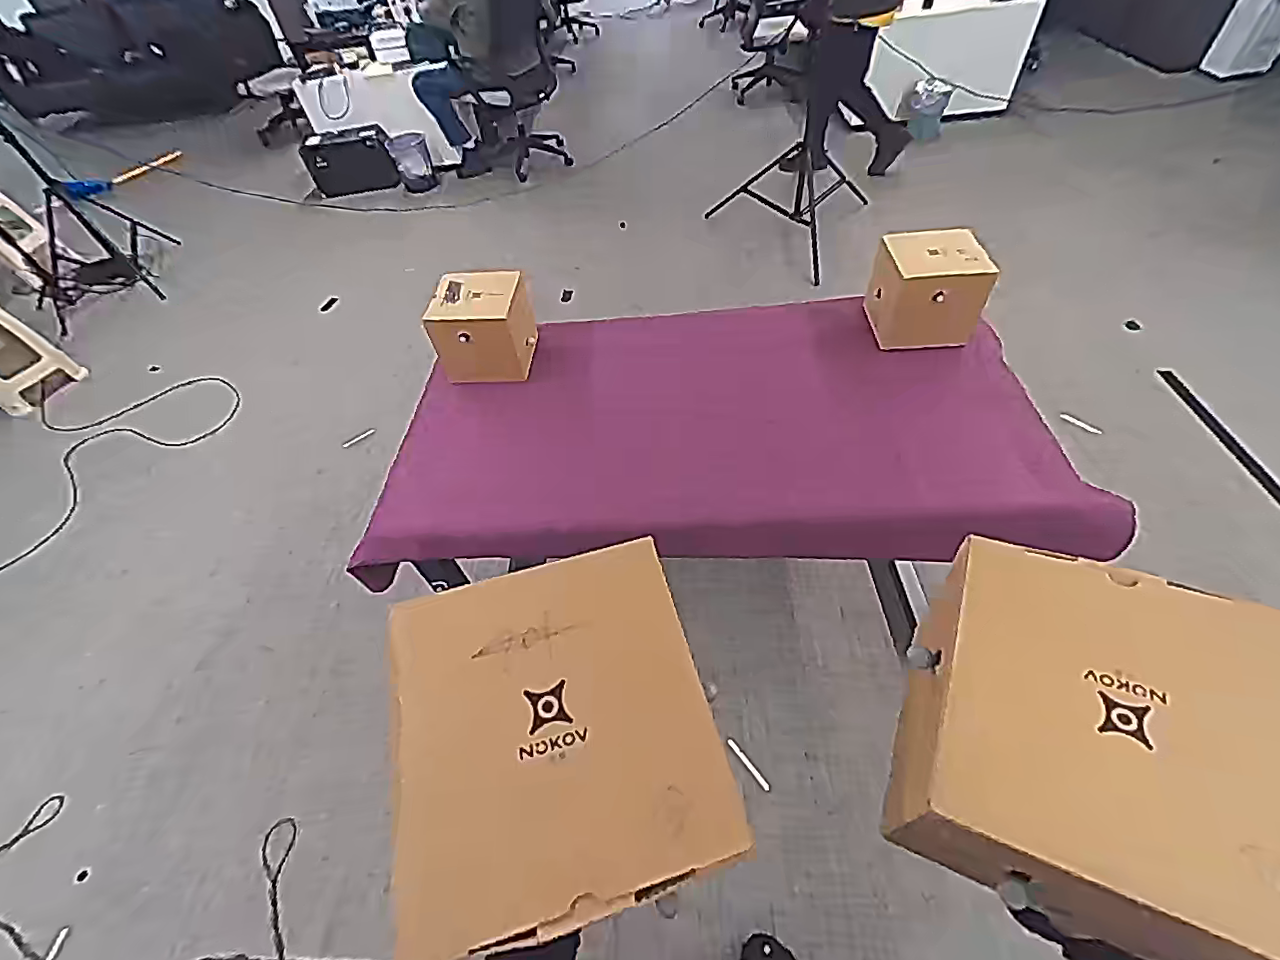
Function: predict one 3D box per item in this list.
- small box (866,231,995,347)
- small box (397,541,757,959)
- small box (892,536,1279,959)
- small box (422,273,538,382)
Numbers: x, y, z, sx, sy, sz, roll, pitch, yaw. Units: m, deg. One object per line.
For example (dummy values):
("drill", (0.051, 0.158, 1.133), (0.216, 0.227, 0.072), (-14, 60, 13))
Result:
("small box", (0.582, -0.390, 1.118), (0.179, 0.176, 0.168), (-2, 52, 4))
("small box", (-0.042, 0.171, 0.353), (0.168, 0.176, 0.179), (-14, 55, -9))
("small box", (0.272, 0.169, 0.348), (0.168, 0.176, 0.179), (14, 57, 23))
("small box", (-0.337, -0.327, 1.176), (0.179, 0.176, 0.168), (0, 53, 5))
